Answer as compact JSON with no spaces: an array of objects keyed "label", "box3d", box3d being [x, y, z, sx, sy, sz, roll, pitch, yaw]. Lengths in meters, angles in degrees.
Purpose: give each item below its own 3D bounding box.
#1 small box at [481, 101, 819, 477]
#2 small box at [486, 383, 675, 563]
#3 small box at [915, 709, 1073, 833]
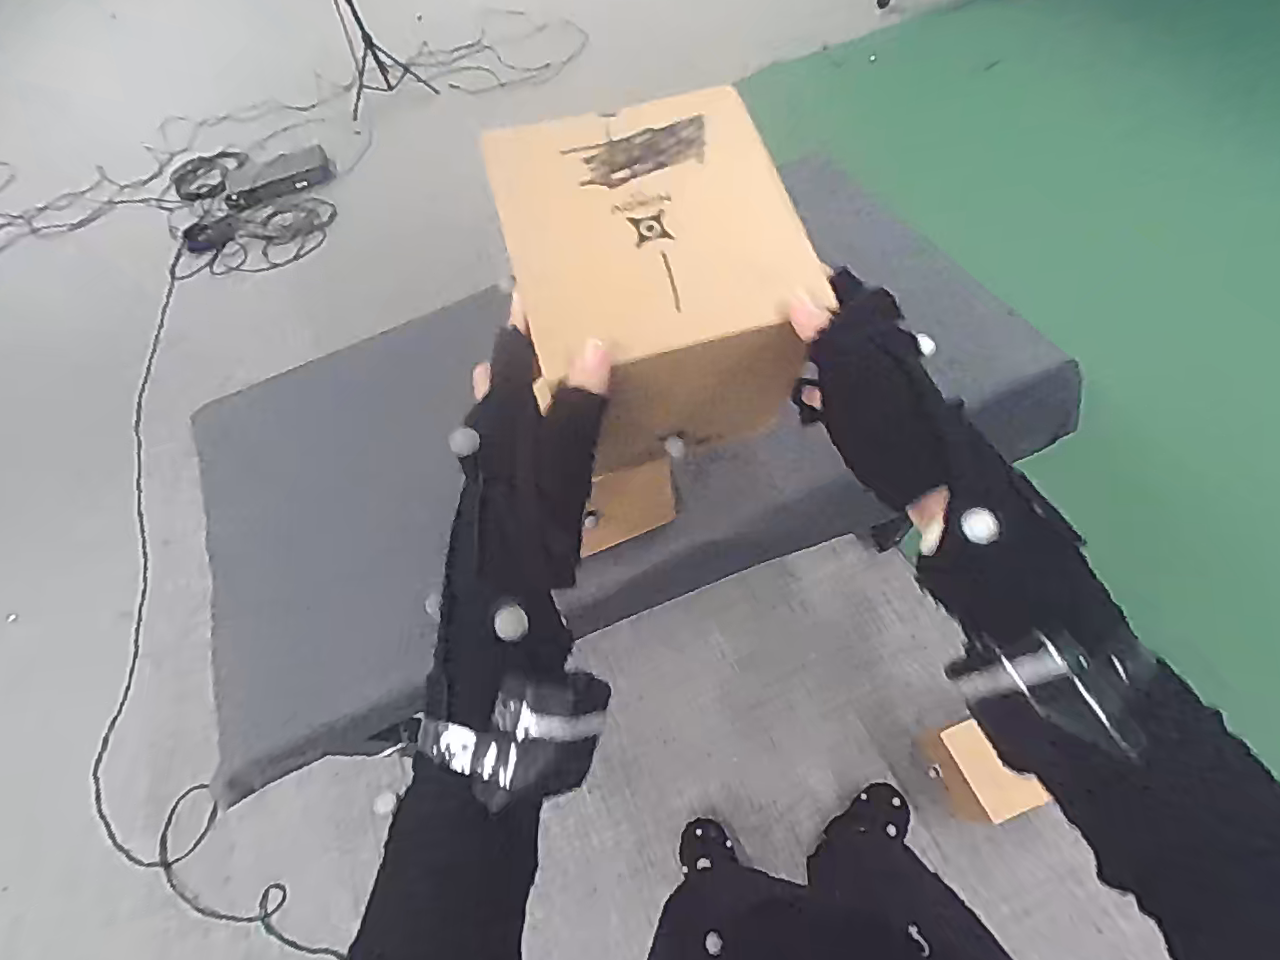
[{"label":"small box","box3d":[-0.001,-0.124,0.395,0.168,0.176,0.179,-15,72,-6]},{"label":"small box","box3d":[-0.067,-0.018,0.679,0.179,0.176,0.168,-22,60,-5]},{"label":"small box","box3d":[0.696,0.581,1.090,0.179,0.176,0.168,-22,60,-3]}]
